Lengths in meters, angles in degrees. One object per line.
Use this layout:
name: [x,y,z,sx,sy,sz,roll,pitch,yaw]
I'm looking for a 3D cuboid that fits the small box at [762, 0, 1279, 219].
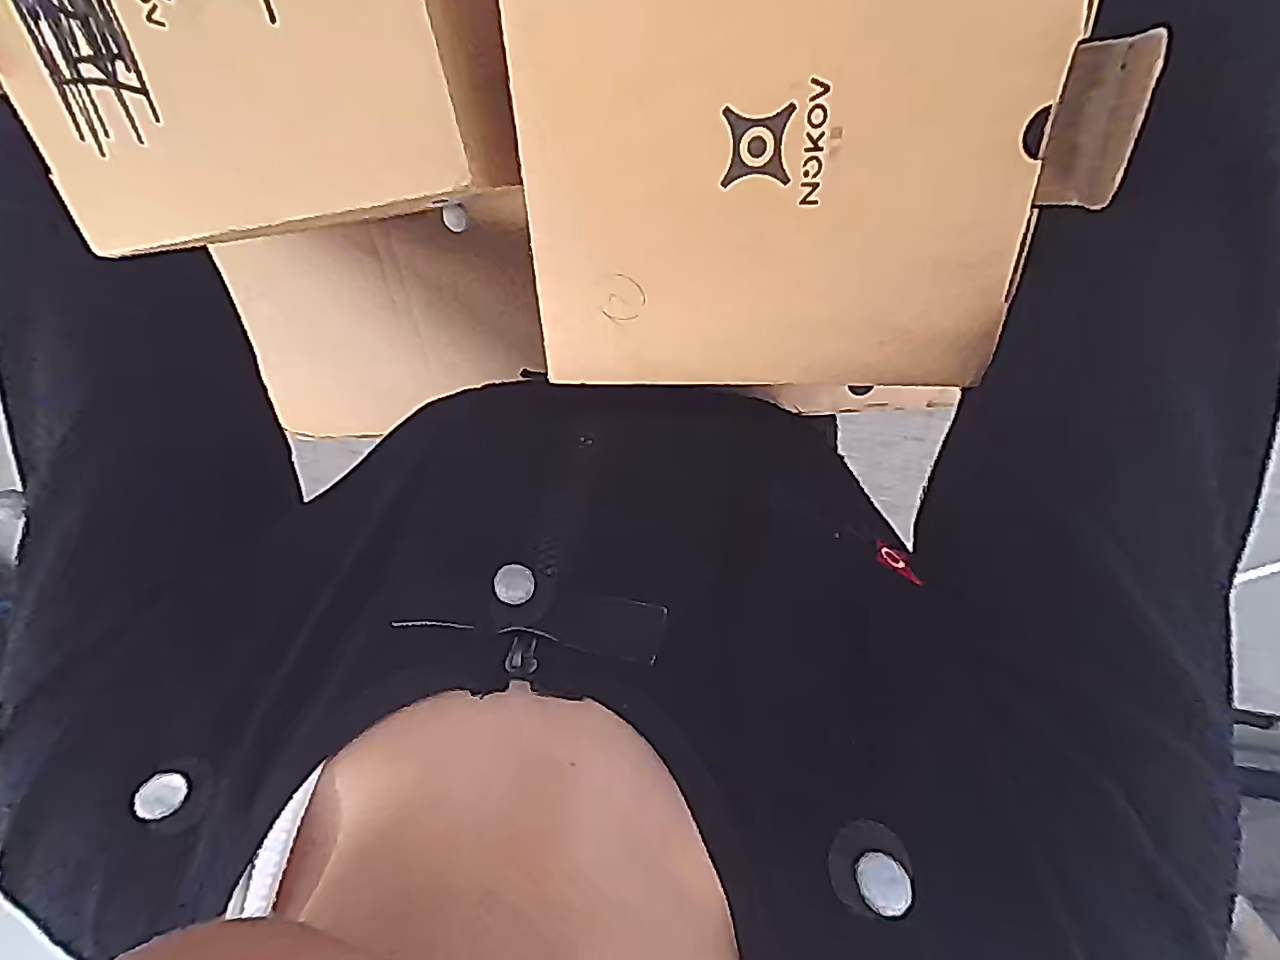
small box: [0.147,-0.208,0.184,0.179,0.176,0.168,13,131,1]
